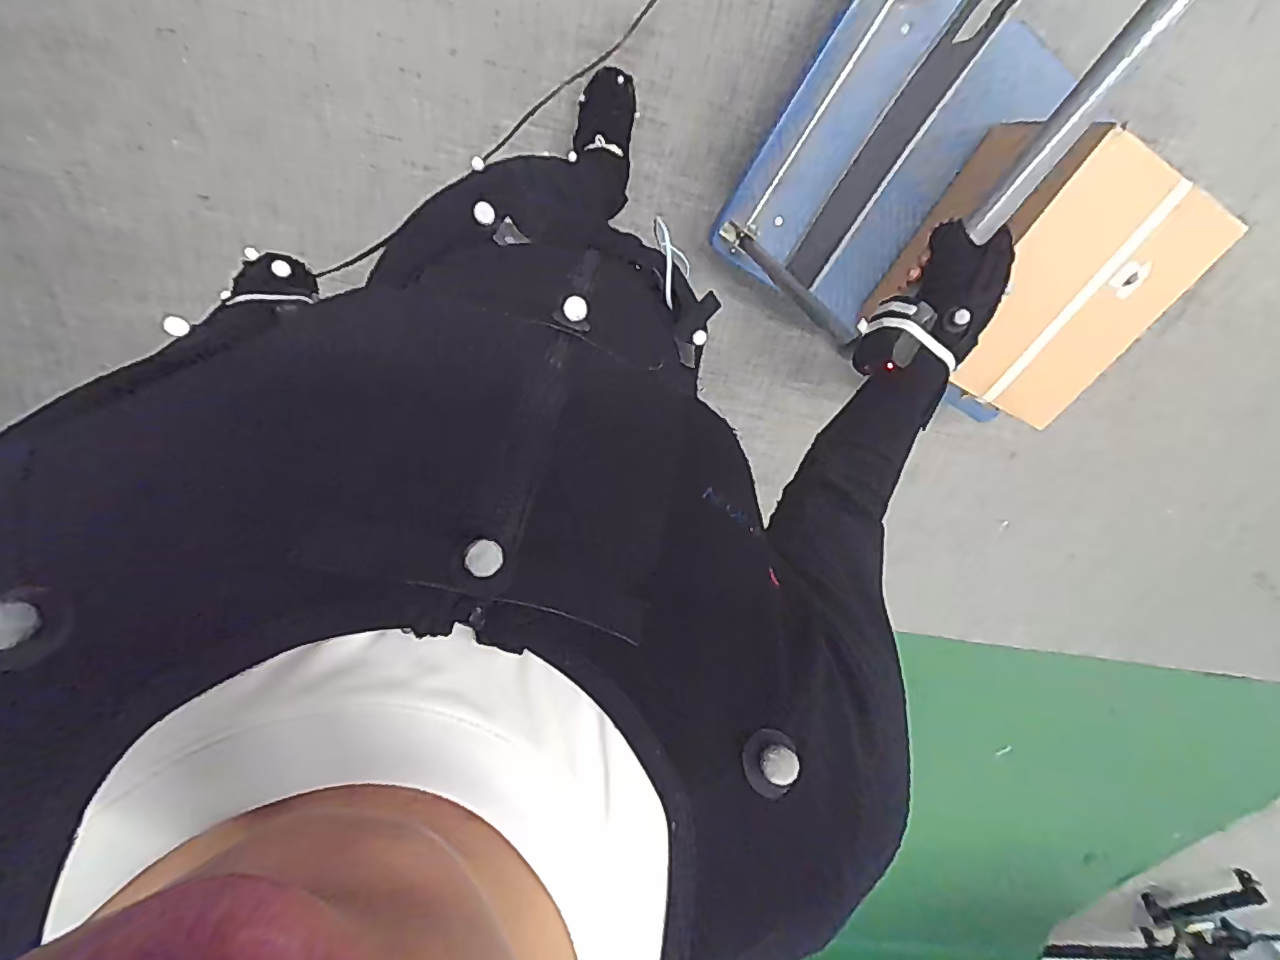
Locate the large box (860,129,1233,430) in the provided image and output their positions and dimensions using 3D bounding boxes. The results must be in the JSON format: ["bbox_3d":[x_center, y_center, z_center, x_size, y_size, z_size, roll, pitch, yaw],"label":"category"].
[{"bbox_3d":[0.708,-0.376,1.028,0.320,0.320,0.408,22,119,-16],"label":"large box"}]
